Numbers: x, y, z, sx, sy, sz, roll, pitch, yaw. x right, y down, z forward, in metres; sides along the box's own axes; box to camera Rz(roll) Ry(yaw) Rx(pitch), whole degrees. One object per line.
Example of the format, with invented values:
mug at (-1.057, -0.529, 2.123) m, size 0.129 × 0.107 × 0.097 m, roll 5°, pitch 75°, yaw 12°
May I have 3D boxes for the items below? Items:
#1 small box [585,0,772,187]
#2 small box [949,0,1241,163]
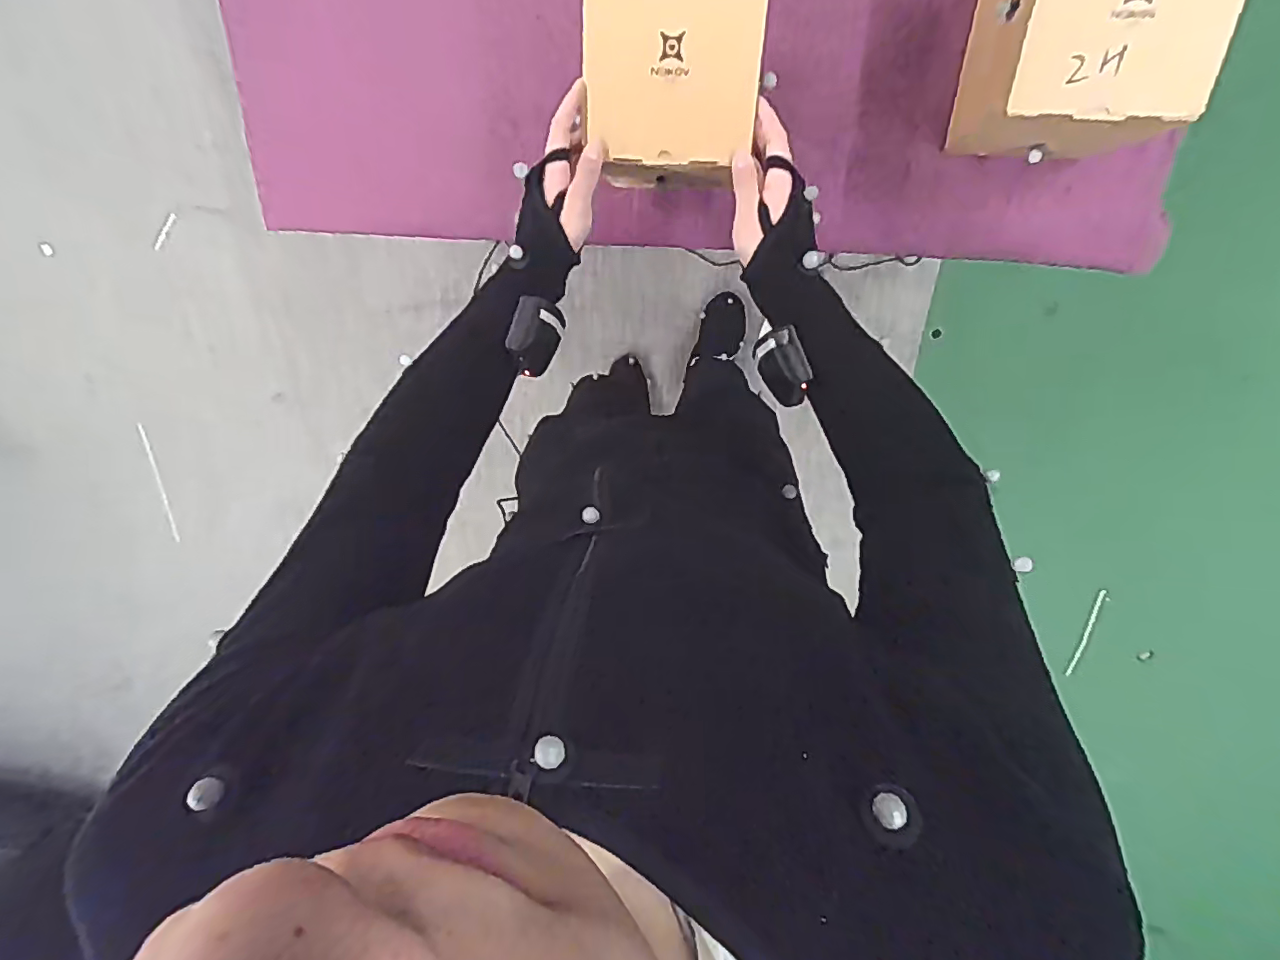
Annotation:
small box at (0.040, -0.418, 0.564) m, size 0.168 × 0.176 × 0.179 m, roll 5°, pitch 113°, yaw 5°
small box at (0.441, -0.439, 0.544) m, size 0.168 × 0.176 × 0.179 m, roll 8°, pitch 111°, yaw 8°
